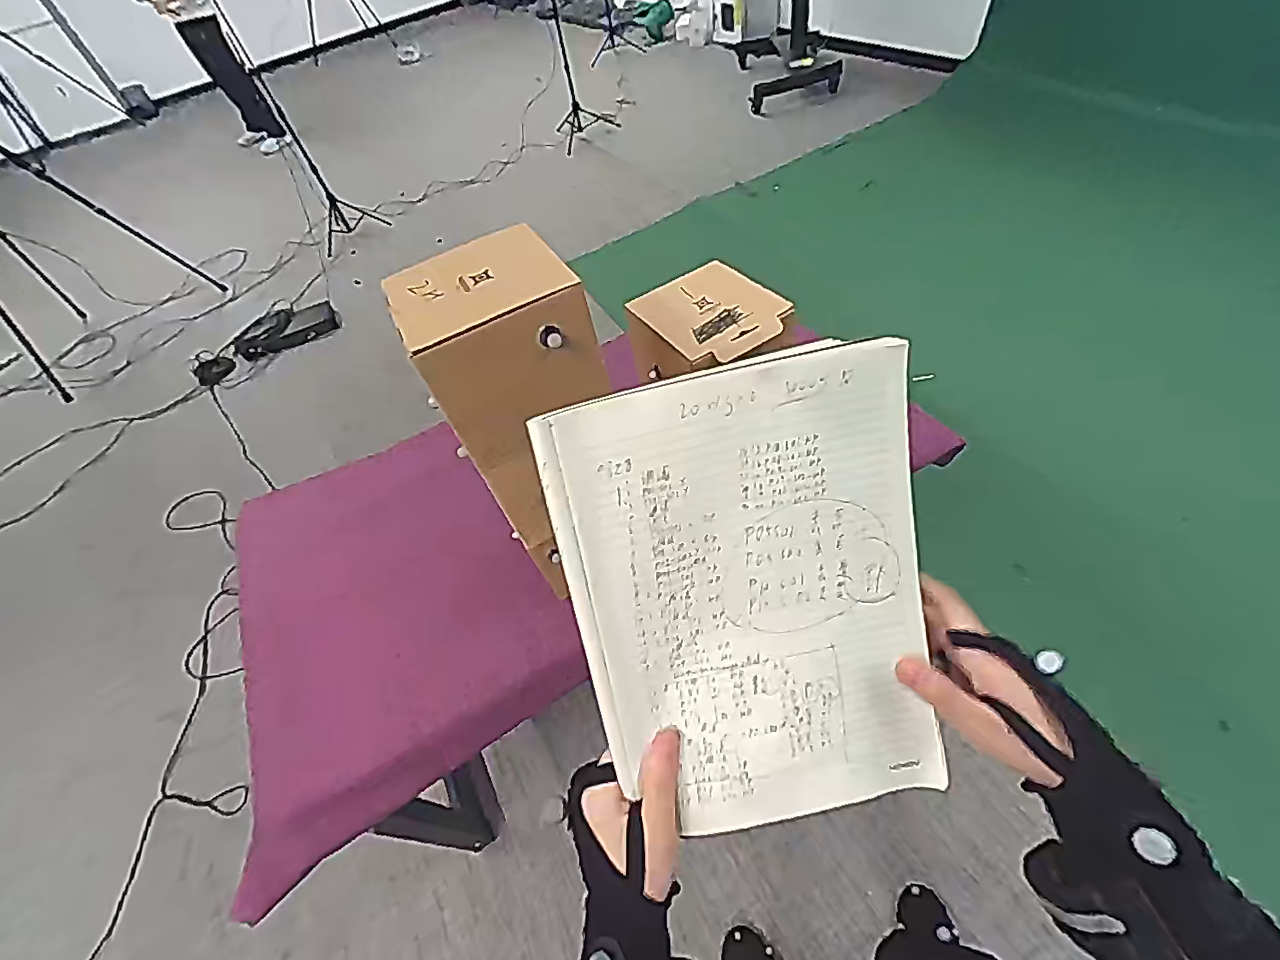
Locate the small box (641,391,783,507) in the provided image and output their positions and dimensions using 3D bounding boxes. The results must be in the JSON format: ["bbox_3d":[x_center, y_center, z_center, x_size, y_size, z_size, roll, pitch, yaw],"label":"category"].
[{"bbox_3d":[0.123,-0.076,0.922,0.168,0.176,0.179,-28,51,-12],"label":"small box"}]

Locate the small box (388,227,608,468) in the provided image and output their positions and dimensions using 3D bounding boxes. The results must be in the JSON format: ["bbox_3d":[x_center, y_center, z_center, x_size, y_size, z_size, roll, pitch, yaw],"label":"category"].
[{"bbox_3d":[-0.148,-0.147,0.608,0.179,0.176,0.168,-27,50,-10],"label":"small box"}]

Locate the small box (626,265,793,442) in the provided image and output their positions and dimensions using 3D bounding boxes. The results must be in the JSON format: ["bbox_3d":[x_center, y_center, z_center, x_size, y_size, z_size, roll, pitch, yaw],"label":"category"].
[{"bbox_3d":[0.103,-0.178,0.795,0.168,0.176,0.179,-29,50,-13],"label":"small box"}]

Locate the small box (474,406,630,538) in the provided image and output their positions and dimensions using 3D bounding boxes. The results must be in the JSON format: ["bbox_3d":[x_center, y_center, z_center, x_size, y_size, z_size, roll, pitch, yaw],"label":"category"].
[{"bbox_3d":[-0.131,-0.044,0.737,0.168,0.176,0.179,-29,51,-11],"label":"small box"}]
